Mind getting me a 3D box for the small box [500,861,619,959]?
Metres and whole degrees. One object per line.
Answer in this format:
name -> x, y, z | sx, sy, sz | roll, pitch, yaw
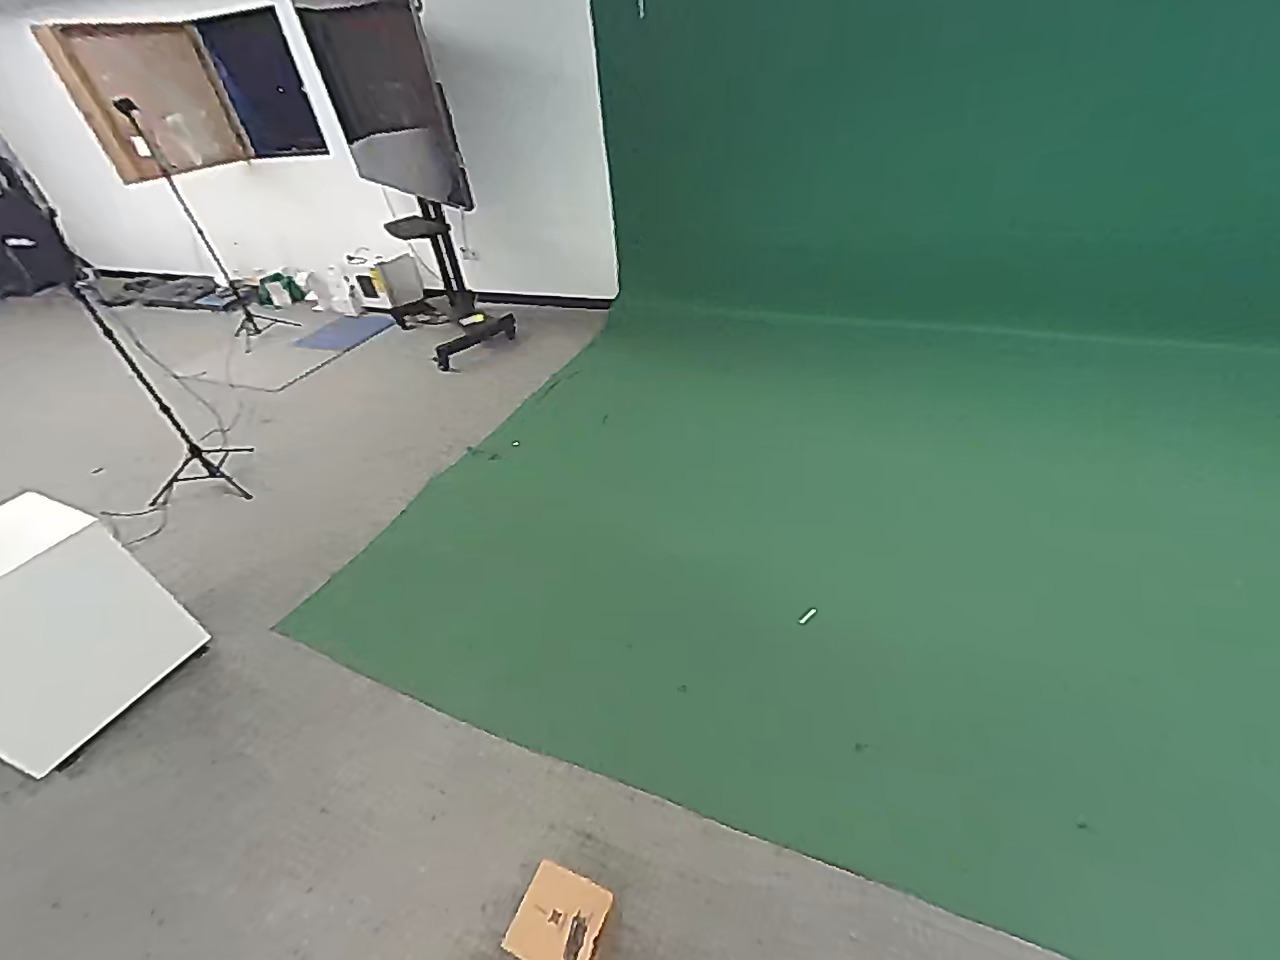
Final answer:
small box -> -0.156, 0.944, 1.124 | 0.179, 0.176, 0.168 | 12, 41, 22
